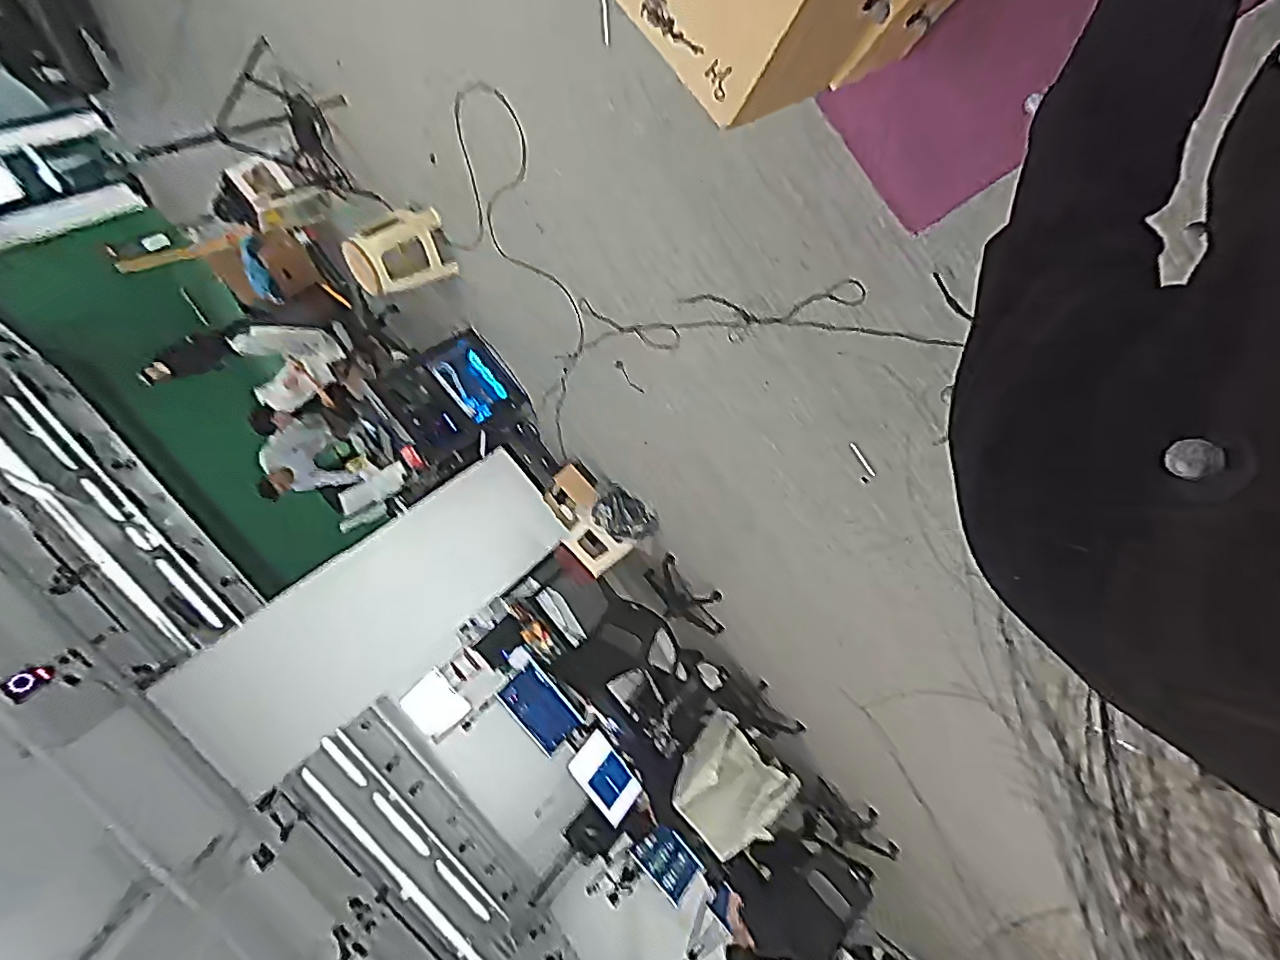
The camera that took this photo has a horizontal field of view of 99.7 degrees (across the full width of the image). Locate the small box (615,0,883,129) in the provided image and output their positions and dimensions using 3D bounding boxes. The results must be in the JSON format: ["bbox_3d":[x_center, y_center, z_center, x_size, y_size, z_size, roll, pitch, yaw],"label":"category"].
[{"bbox_3d":[0.104,-0.427,0.417,0.168,0.176,0.179,50,151,-1],"label":"small box"}]

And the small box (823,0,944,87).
[{"bbox_3d":[0.219,-0.517,0.492,0.179,0.176,0.168,51,151,-3],"label":"small box"}]
